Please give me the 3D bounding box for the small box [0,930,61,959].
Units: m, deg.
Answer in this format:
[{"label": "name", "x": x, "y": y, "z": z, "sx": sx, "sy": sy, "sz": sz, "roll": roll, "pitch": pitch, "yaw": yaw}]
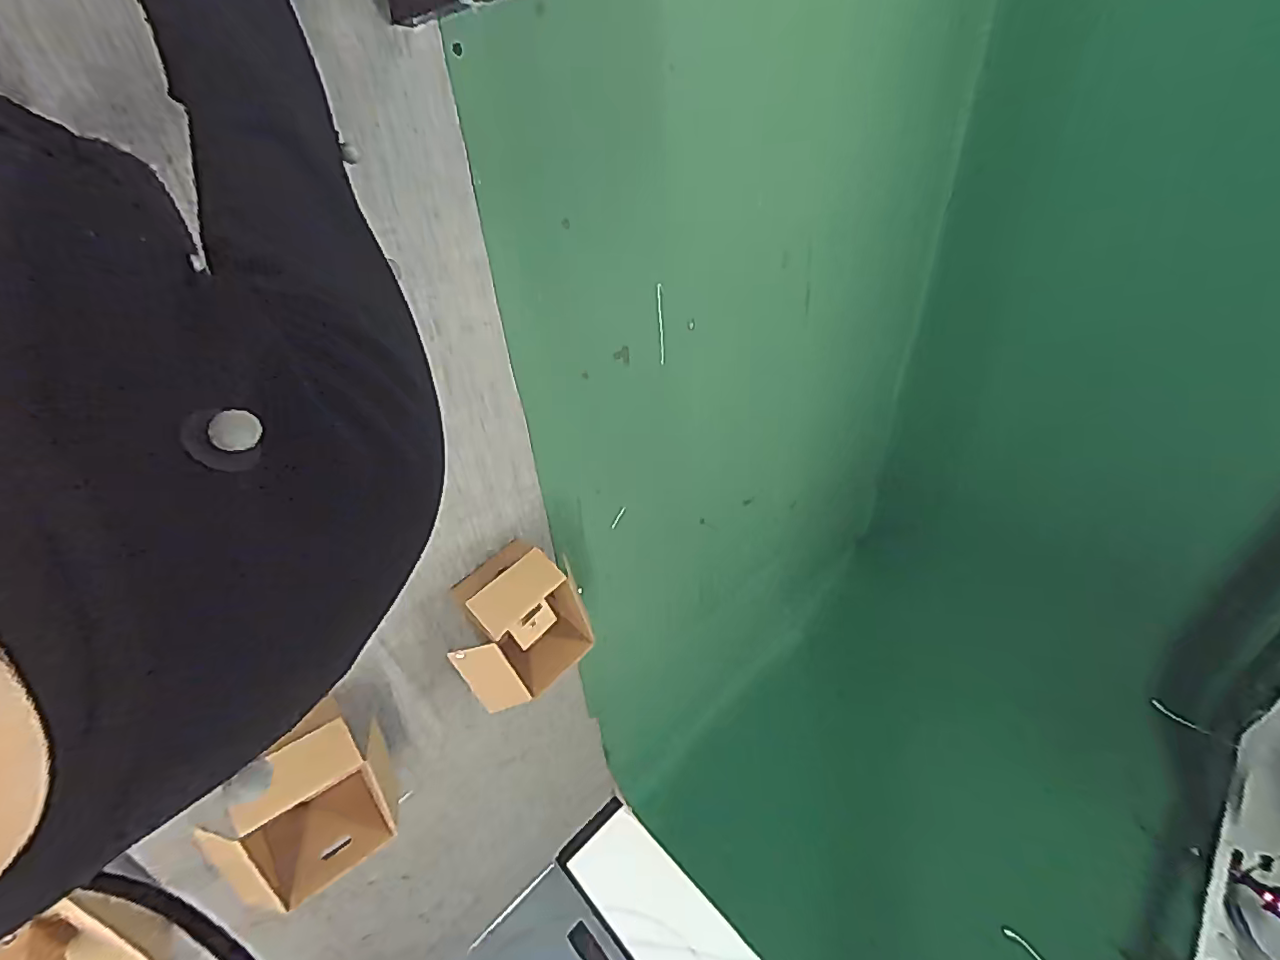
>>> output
[{"label": "small box", "x": -1.485, "y": 1.199, "z": 1.246, "sx": 0.168, "sy": 0.176, "sz": 0.179, "roll": -24, "pitch": 130, "yaw": -36}]
